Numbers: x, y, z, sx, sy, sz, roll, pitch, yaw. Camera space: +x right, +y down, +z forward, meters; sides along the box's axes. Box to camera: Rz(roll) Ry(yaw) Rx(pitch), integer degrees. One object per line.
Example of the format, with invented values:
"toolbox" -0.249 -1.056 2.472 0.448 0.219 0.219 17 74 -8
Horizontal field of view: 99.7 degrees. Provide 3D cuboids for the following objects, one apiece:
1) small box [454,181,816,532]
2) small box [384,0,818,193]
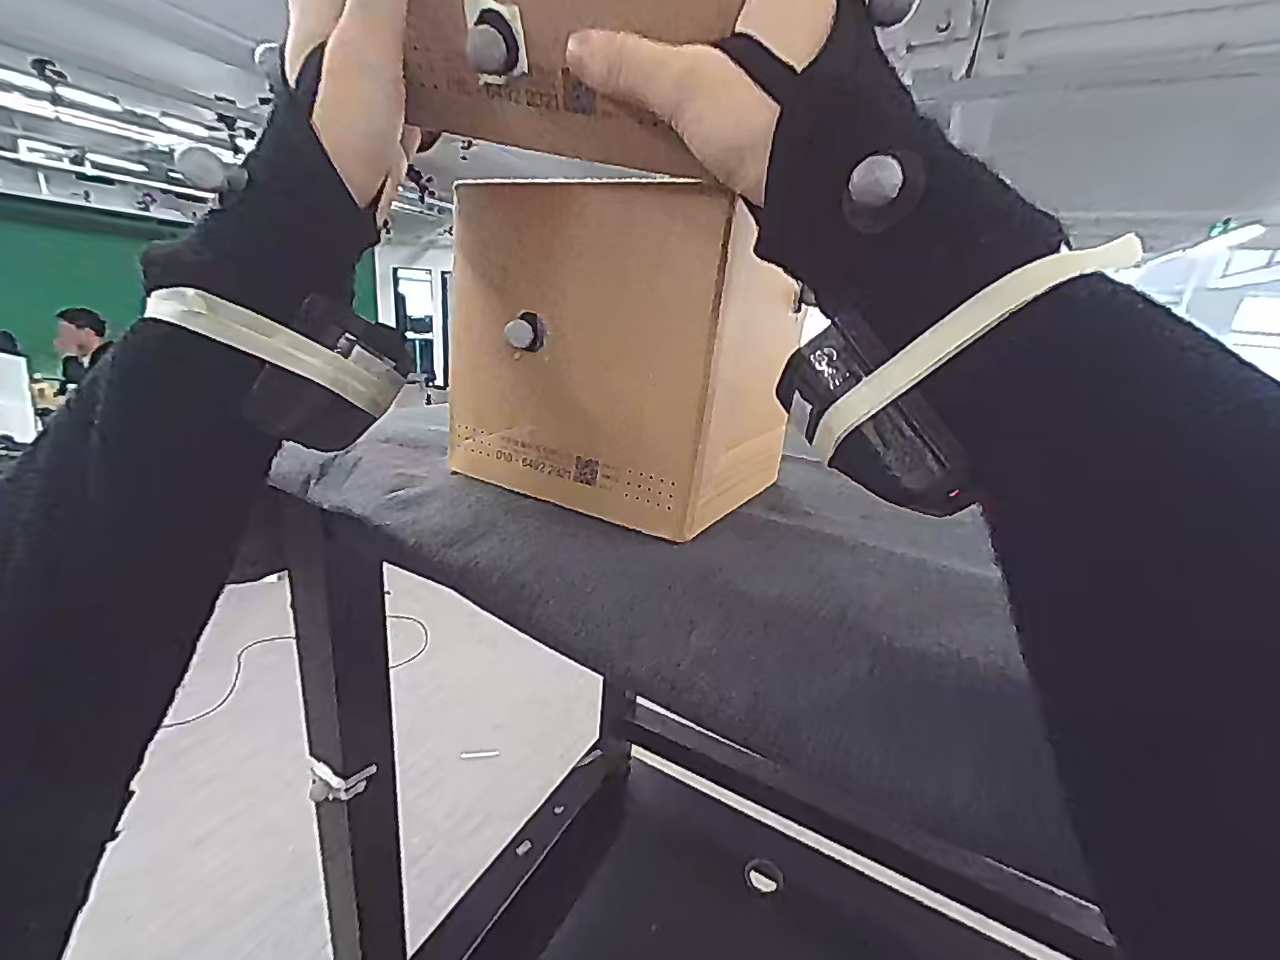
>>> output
"small box" 0.001 -0.077 0.353 0.168 0.176 0.179 15 16 26
"small box" -0.006 -0.252 0.234 0.168 0.176 0.179 17 50 13
